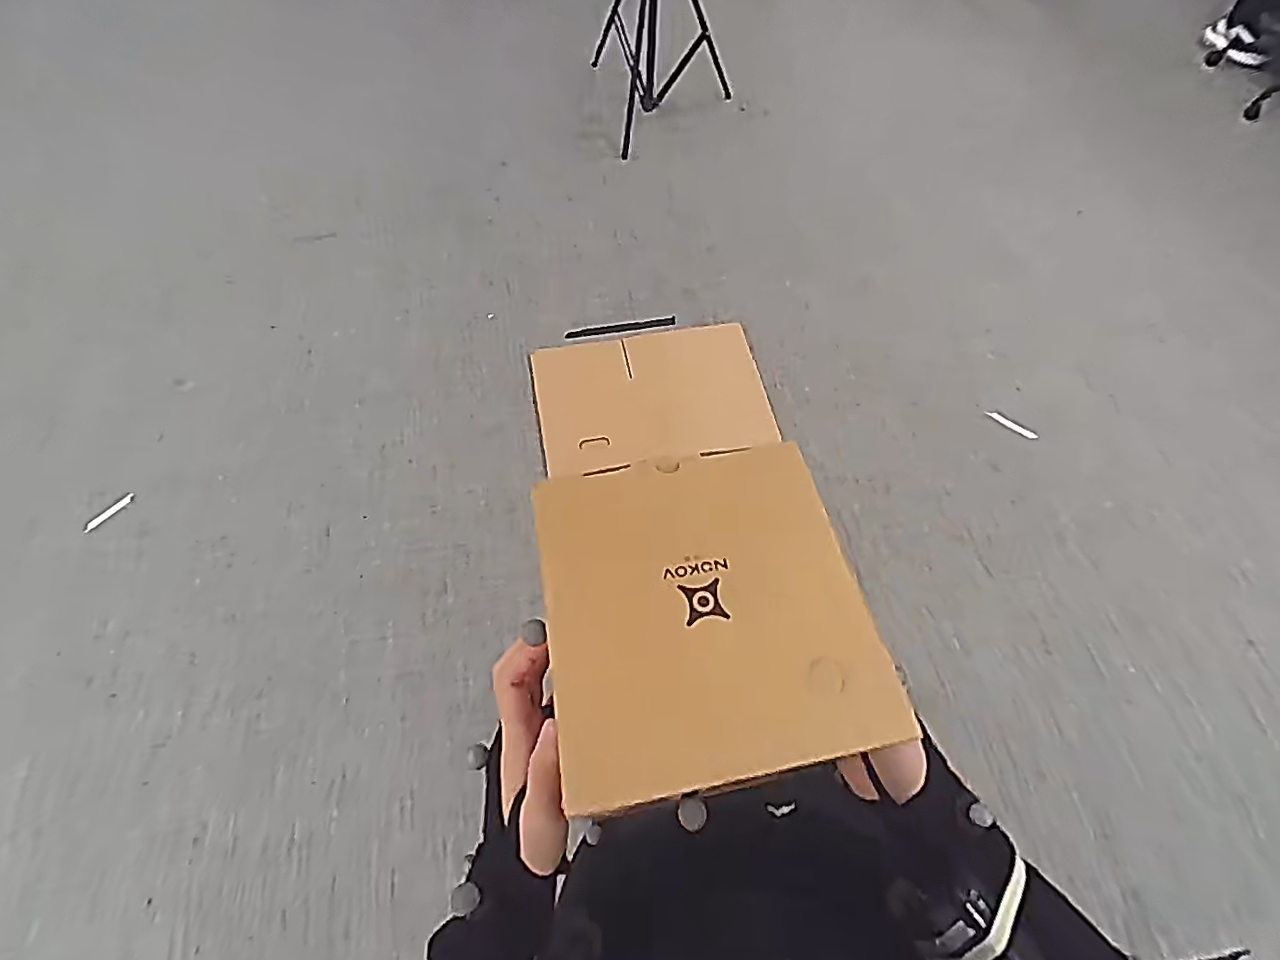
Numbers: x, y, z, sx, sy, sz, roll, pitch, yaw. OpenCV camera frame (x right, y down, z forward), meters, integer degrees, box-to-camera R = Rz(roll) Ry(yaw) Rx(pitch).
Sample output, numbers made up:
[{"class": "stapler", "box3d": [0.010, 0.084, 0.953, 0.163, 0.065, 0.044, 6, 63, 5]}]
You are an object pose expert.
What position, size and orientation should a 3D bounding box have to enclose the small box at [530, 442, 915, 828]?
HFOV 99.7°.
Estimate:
[{"class": "small box", "box3d": [0.032, 0.104, 0.348, 0.168, 0.176, 0.179, -10, 57, -6]}]
